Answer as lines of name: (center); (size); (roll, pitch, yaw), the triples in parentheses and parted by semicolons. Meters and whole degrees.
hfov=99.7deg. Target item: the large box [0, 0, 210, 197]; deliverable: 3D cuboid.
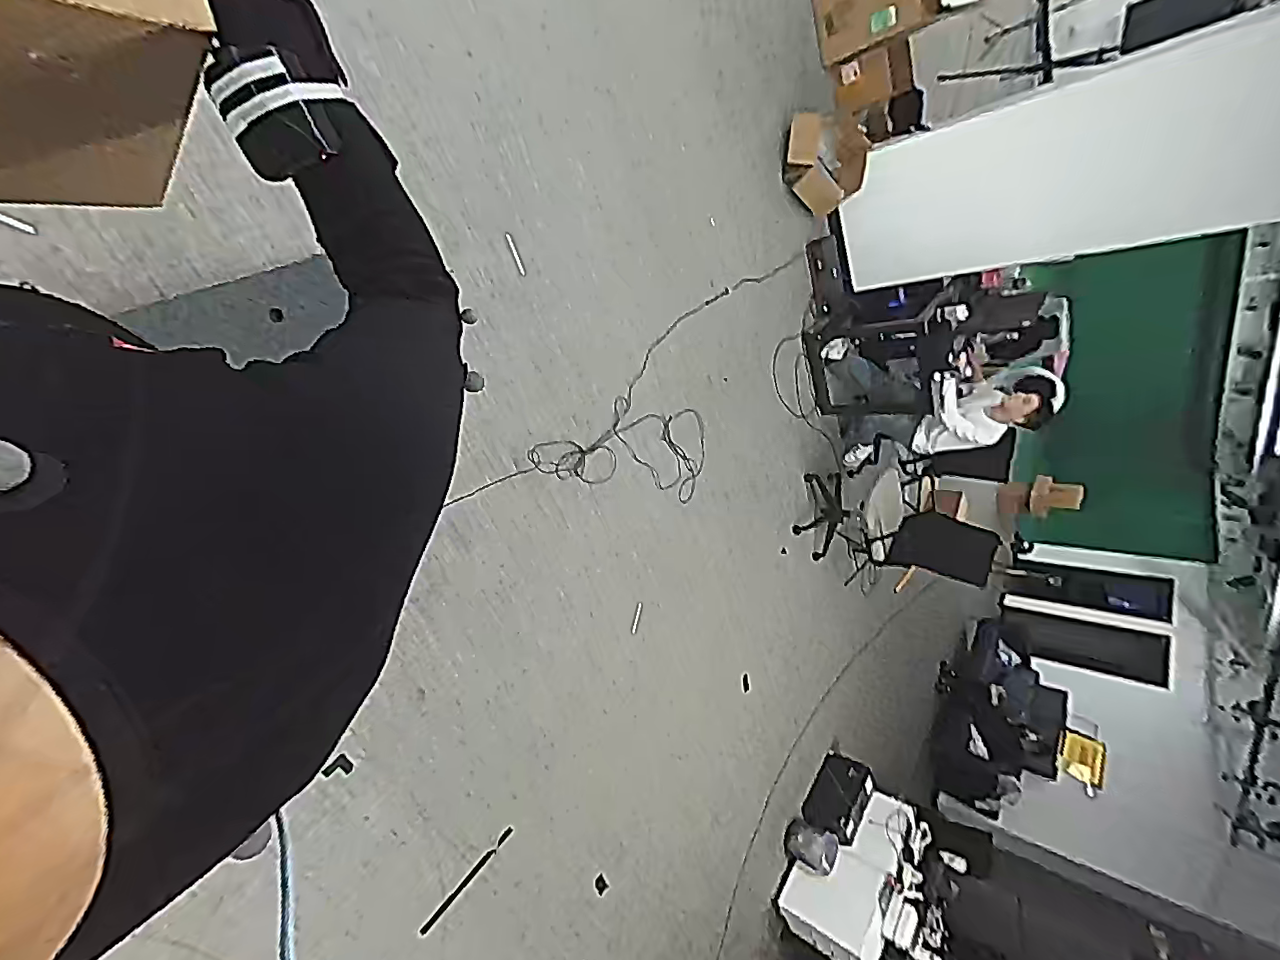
large box: (-0.536, -0.362, 0.268); (0.408, 0.320, 0.320); (-25, 109, -44)

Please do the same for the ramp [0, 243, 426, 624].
ramp: (-0.989, -0.194, 1.267); (0.991, 0.206, 0.509); (-44, 122, -35)
